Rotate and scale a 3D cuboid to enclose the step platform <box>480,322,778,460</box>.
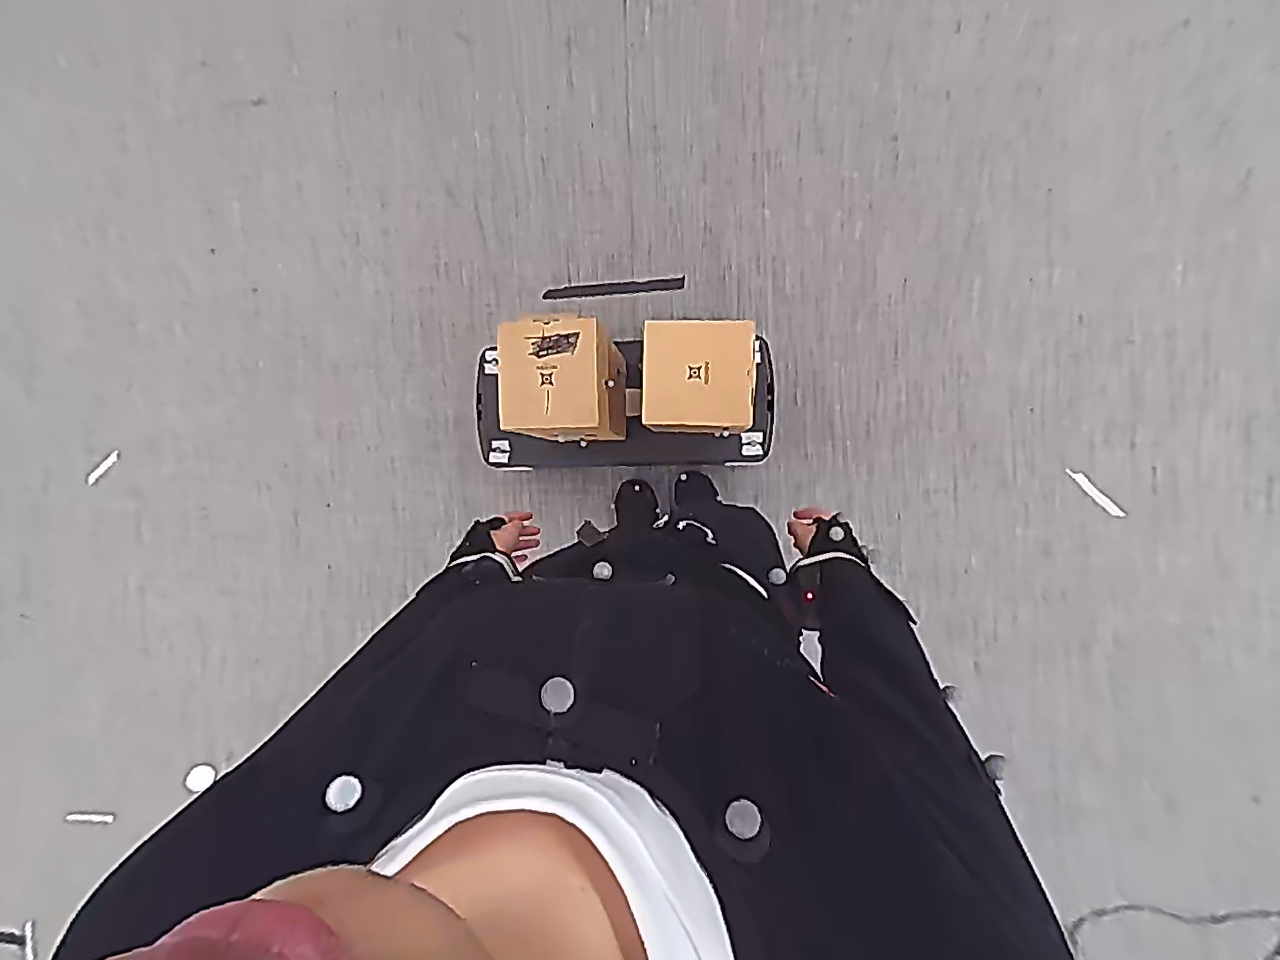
[{"bbox_3d":[-0.025,-0.199,1.276,0.684,0.204,0.286,-2,91,6],"label":"step platform"}]

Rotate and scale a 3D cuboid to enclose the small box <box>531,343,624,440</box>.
[{"bbox_3d":[-0.124,-0.175,1.112,0.168,0.176,0.179,0,92,6],"label":"small box"}]

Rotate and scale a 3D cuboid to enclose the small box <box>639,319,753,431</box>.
[{"bbox_3d":[0.095,-0.172,0.927,0.179,0.176,0.168,1,92,5],"label":"small box"}]

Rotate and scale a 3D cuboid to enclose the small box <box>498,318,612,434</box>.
[{"bbox_3d":[-0.142,-0.174,0.948,0.168,0.176,0.179,0,92,6],"label":"small box"}]
